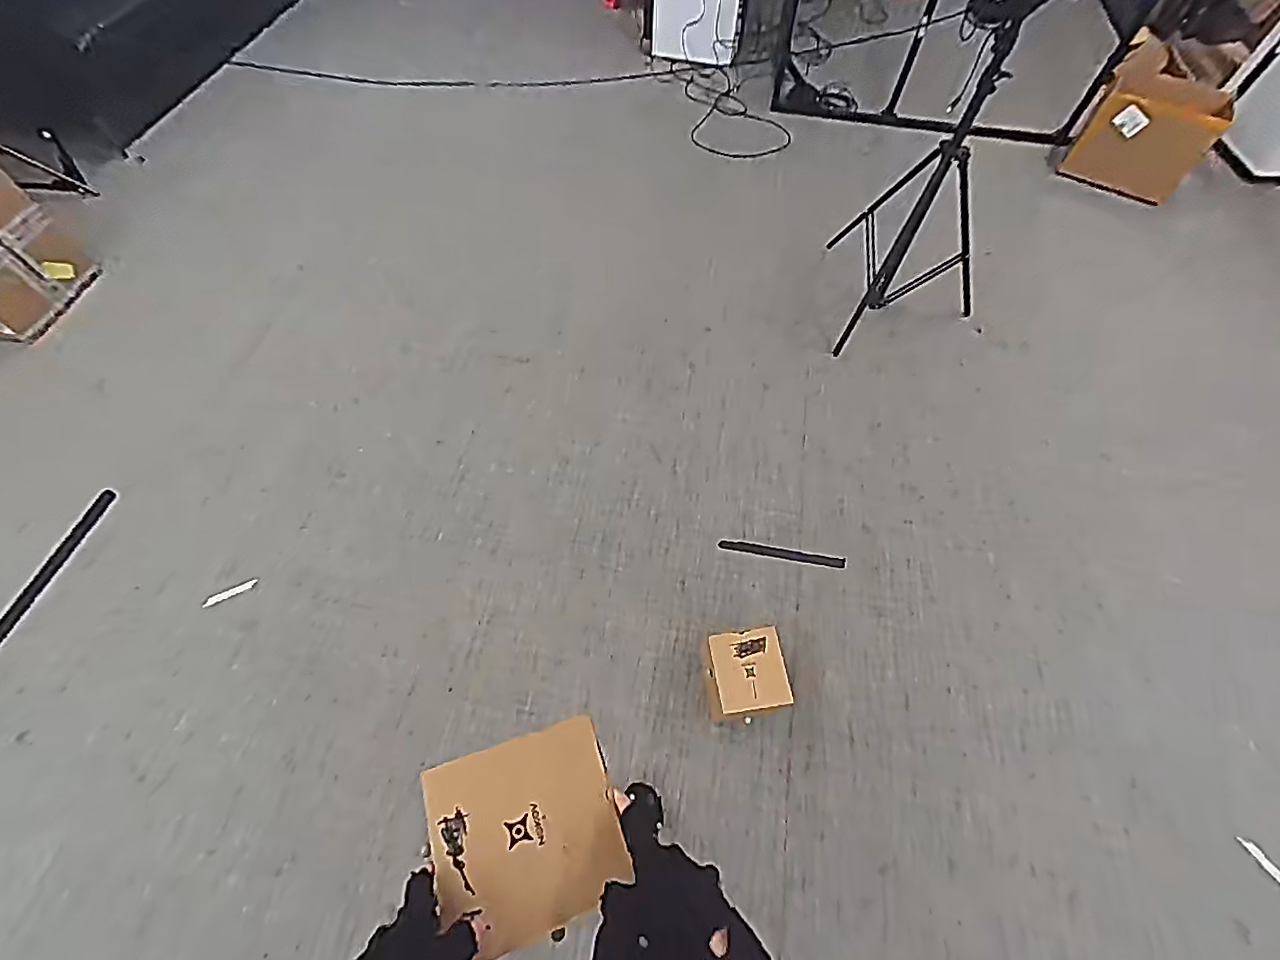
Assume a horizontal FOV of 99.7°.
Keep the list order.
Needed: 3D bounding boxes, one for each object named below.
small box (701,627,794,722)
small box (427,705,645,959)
[{"bbox_3d":[0.250,0.471,1.305,0.168,0.176,0.179,-7,61,-5],"label":"small box"},{"bbox_3d":[-0.111,0.367,0.577,0.179,0.176,0.168,-14,57,-17],"label":"small box"}]
